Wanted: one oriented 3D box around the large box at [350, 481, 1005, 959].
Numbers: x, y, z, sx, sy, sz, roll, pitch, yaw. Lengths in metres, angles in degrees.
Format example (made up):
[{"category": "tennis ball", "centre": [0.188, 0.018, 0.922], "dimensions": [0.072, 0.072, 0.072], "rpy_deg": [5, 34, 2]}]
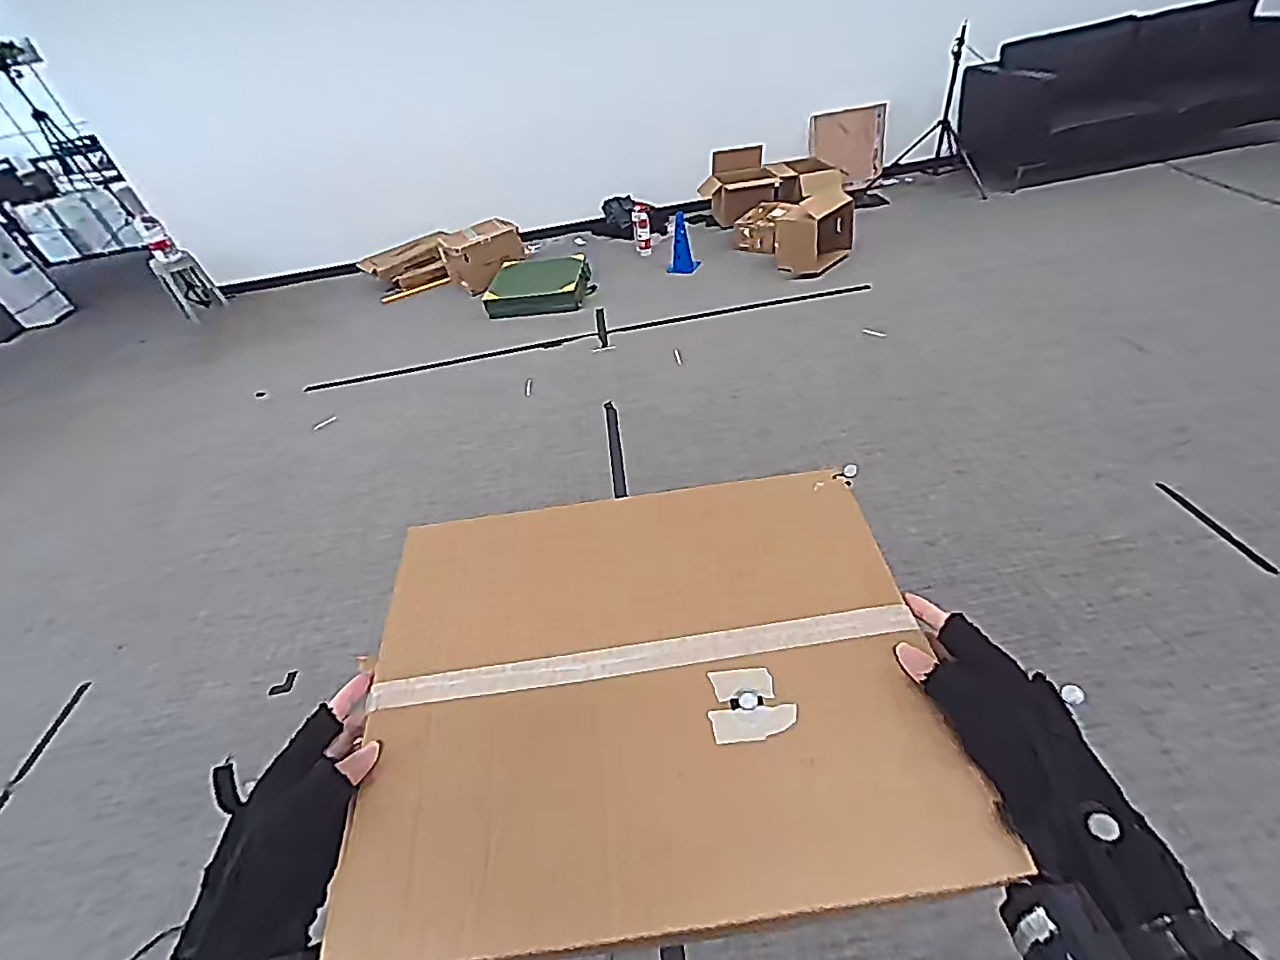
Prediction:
[{"category": "large box", "centre": [0.017, 0.239, 0.526], "dimensions": [0.408, 0.320, 0.320], "rpy_deg": [-8, 49, -1]}]
